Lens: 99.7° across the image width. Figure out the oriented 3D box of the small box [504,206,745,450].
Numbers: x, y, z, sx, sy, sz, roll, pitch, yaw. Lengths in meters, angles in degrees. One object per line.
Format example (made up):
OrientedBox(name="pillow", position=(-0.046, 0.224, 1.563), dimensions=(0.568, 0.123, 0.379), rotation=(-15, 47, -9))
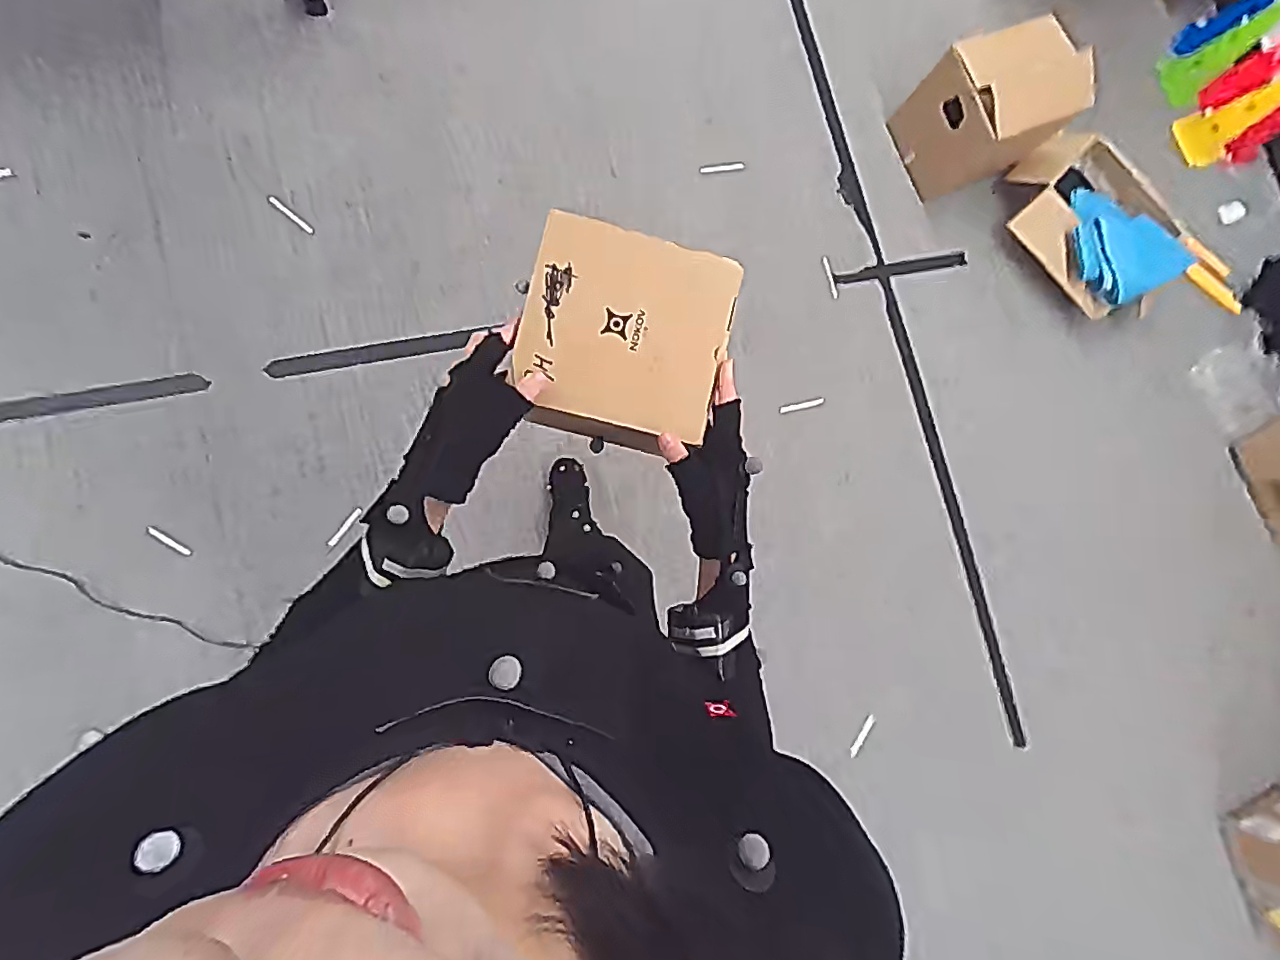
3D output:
OrientedBox(name="small box", position=(-0.020, -0.130, 0.539), dimensions=(0.179, 0.176, 0.168), rotation=(15, 87, -6))
